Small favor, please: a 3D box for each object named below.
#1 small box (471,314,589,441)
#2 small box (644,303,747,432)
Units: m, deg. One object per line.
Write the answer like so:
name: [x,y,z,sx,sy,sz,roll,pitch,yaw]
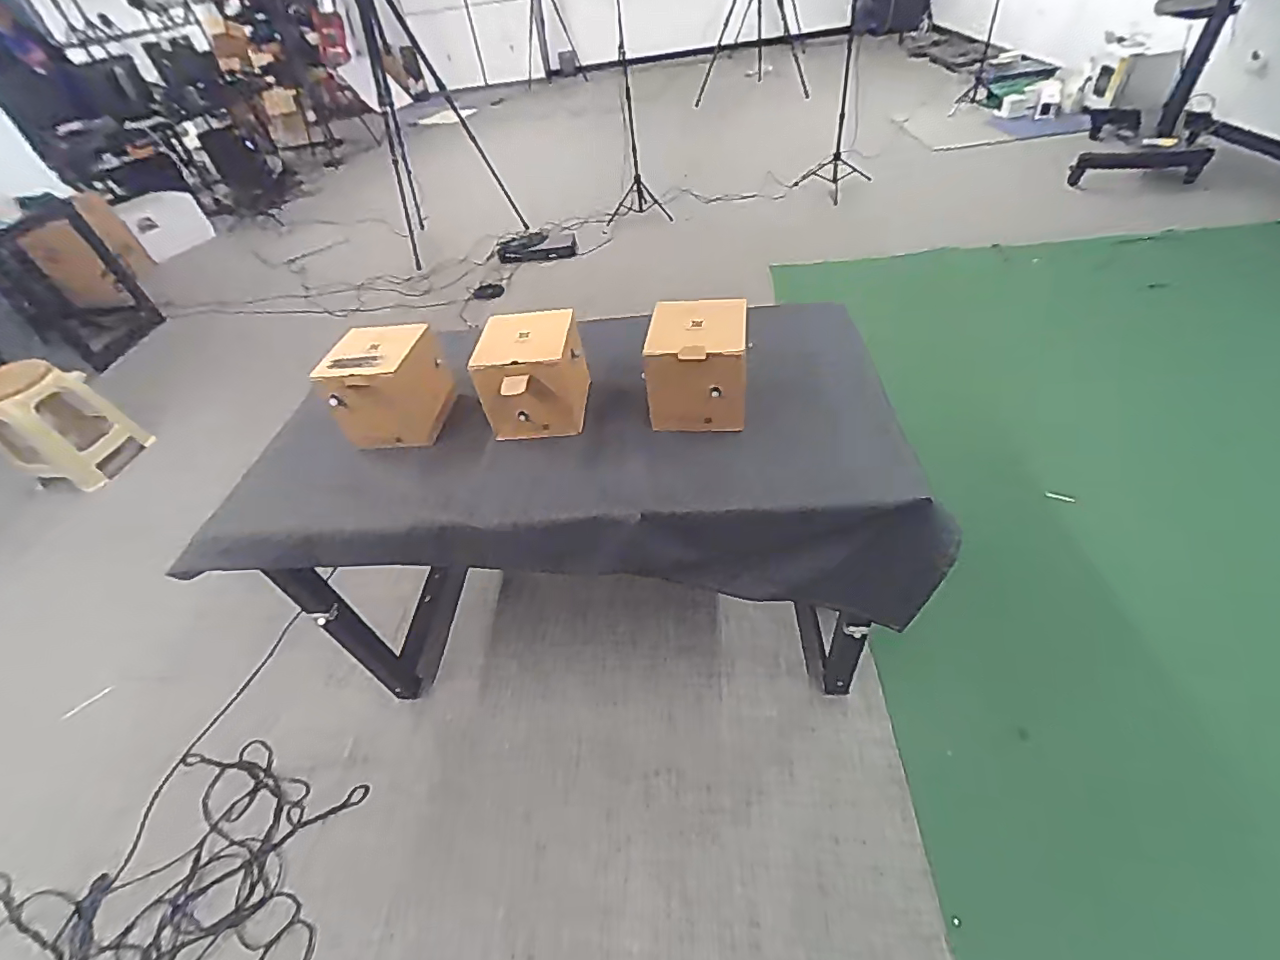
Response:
small box: [-0.196,-0.193,1.023,0.168,0.176,0.179,-3,45,6]
small box: [0.107,-0.200,0.977,0.168,0.176,0.179,2,45,10]
